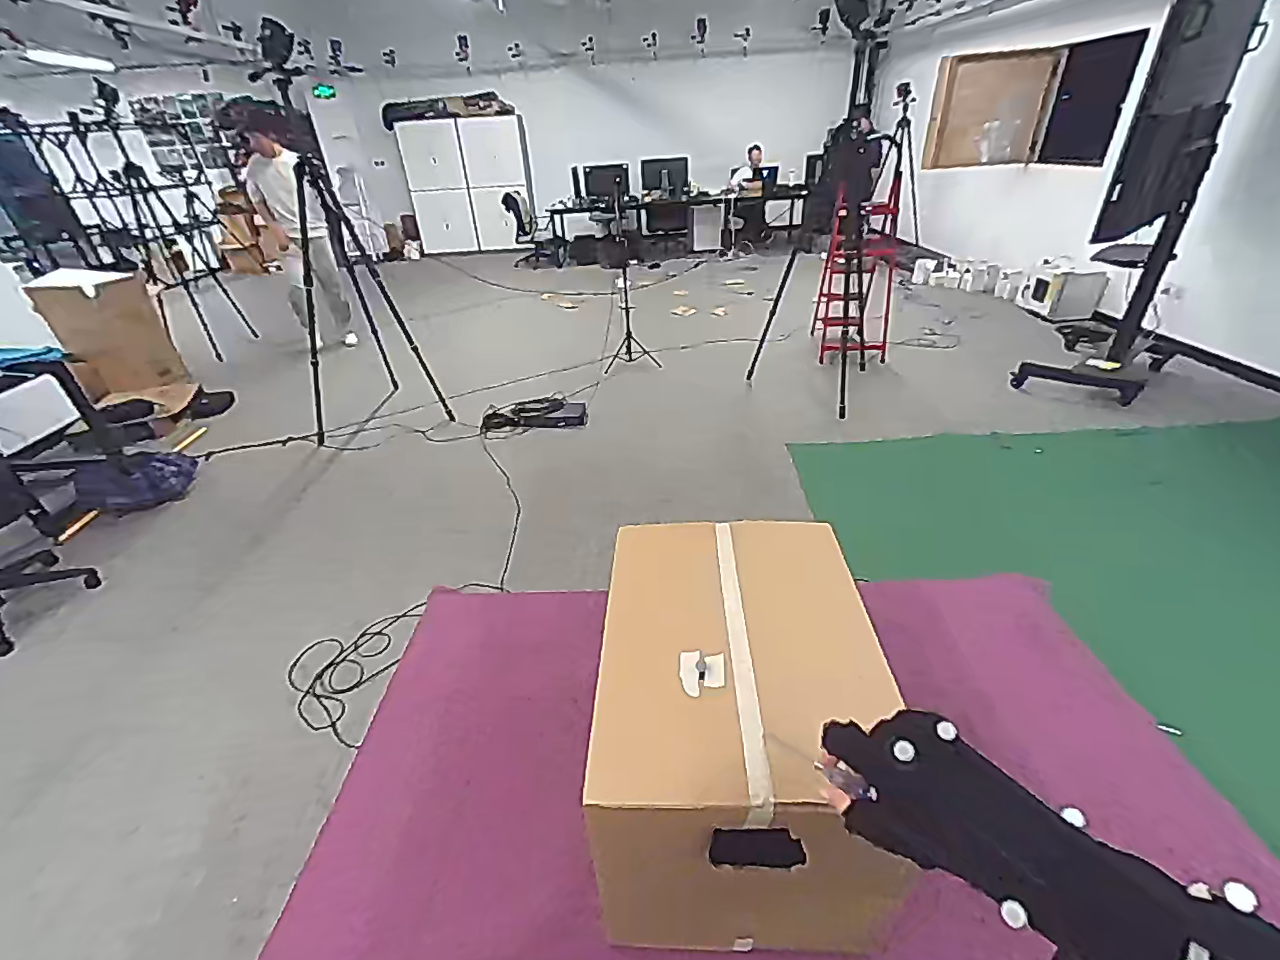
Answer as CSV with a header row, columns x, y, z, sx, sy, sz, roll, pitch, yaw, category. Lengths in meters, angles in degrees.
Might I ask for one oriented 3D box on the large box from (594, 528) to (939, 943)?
x,y,z,sx,sy,sz,roll,pitch,yaw,category
0.121,0.308,0.724,0.320,0.320,0.408,-1,33,4,large box
